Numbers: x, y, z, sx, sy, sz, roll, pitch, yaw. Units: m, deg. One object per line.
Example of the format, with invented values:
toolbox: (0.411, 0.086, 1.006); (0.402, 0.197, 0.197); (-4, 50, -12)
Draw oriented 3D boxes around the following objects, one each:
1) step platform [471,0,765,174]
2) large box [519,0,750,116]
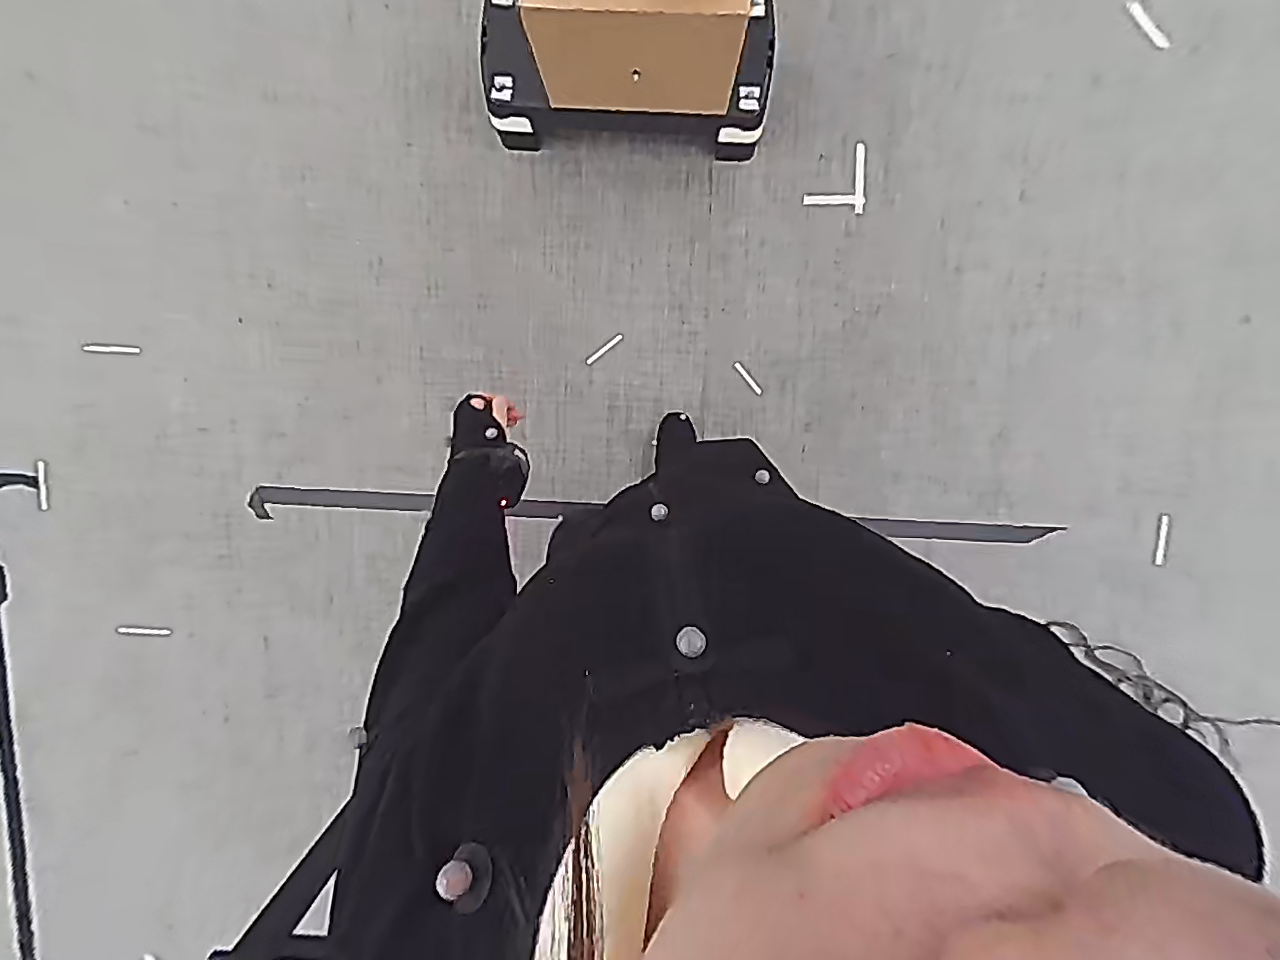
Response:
step platform: (-0.049, -0.966, 1.300); (0.684, 0.204, 0.286); (8, 96, 1)
large box: (0.000, -0.958, 1.061); (0.408, 0.320, 0.320); (2, 95, 2)
